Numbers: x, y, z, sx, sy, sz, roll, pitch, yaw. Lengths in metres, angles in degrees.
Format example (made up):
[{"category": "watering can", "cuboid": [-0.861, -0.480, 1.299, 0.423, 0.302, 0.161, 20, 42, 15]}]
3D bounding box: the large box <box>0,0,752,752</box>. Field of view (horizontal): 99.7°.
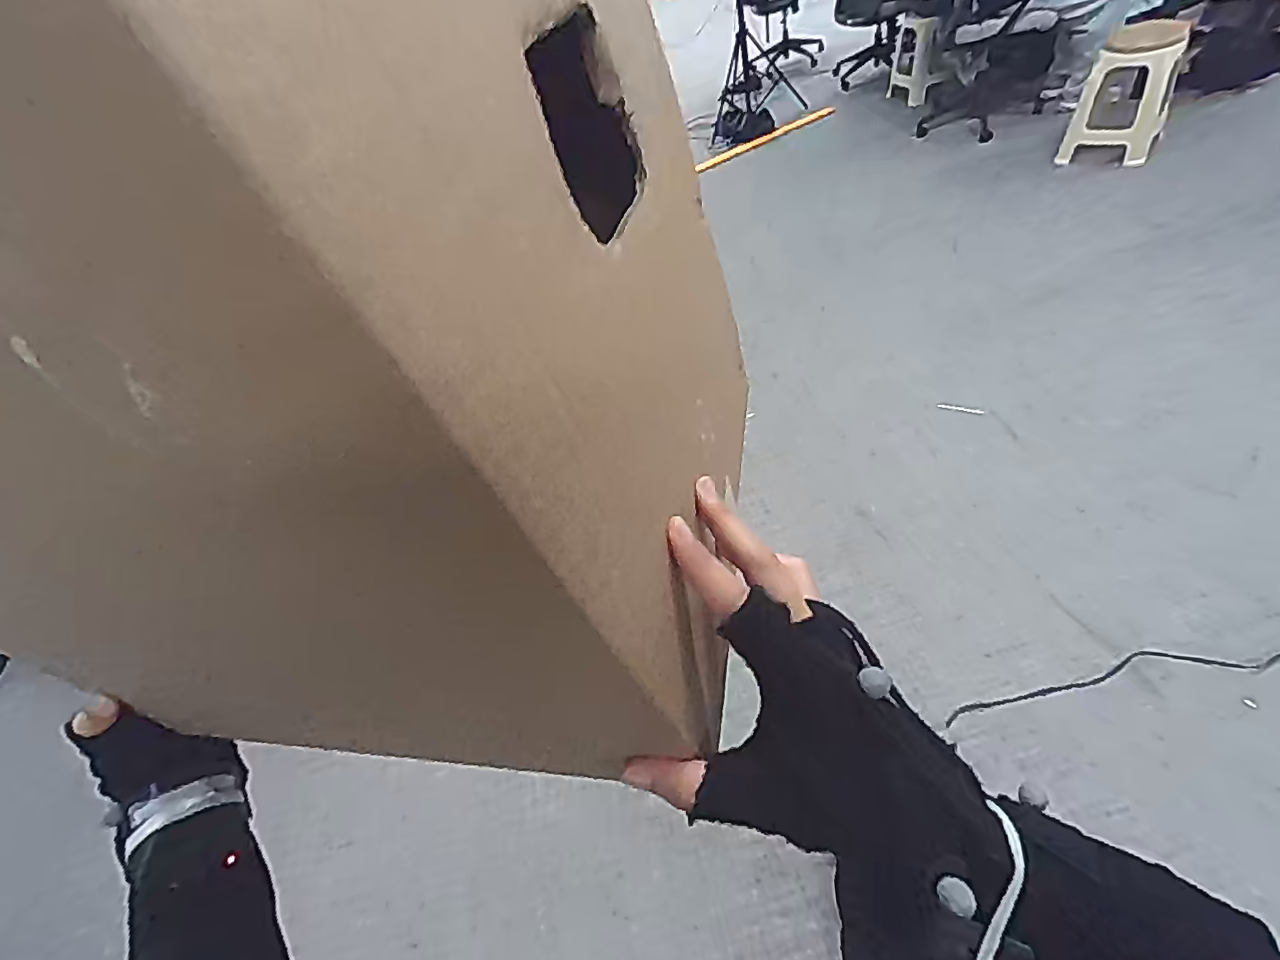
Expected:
[{"category": "large box", "cuboid": [-0.162, -0.055, 0.336, 0.408, 0.320, 0.320, -7, 44, 21]}]
